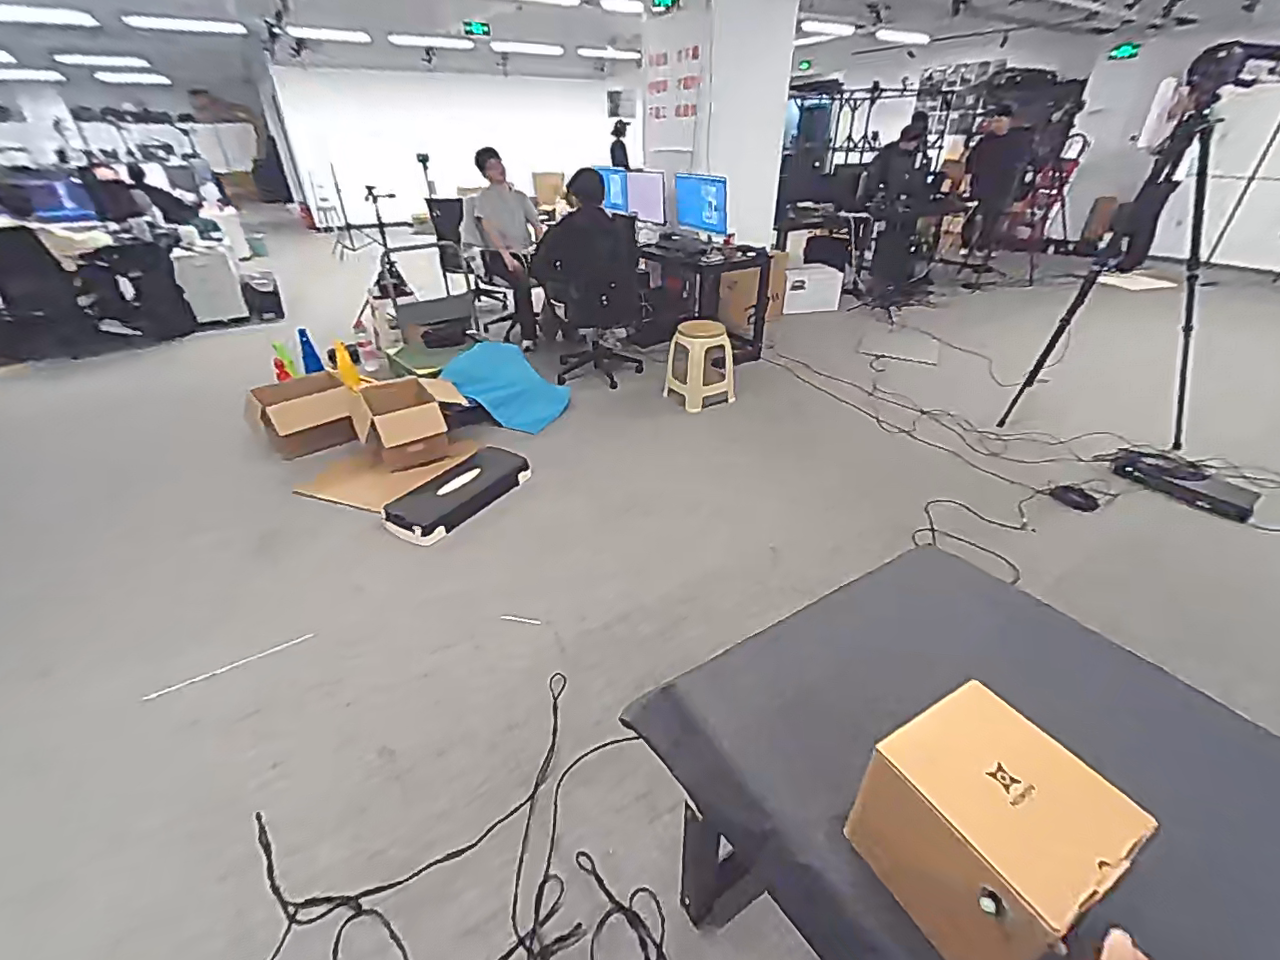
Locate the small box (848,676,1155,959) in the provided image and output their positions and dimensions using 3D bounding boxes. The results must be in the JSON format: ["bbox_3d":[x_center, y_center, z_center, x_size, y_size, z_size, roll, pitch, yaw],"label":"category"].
[{"bbox_3d":[0.341,0.344,0.547,0.168,0.176,0.179,-16,36,-25],"label":"small box"}]
